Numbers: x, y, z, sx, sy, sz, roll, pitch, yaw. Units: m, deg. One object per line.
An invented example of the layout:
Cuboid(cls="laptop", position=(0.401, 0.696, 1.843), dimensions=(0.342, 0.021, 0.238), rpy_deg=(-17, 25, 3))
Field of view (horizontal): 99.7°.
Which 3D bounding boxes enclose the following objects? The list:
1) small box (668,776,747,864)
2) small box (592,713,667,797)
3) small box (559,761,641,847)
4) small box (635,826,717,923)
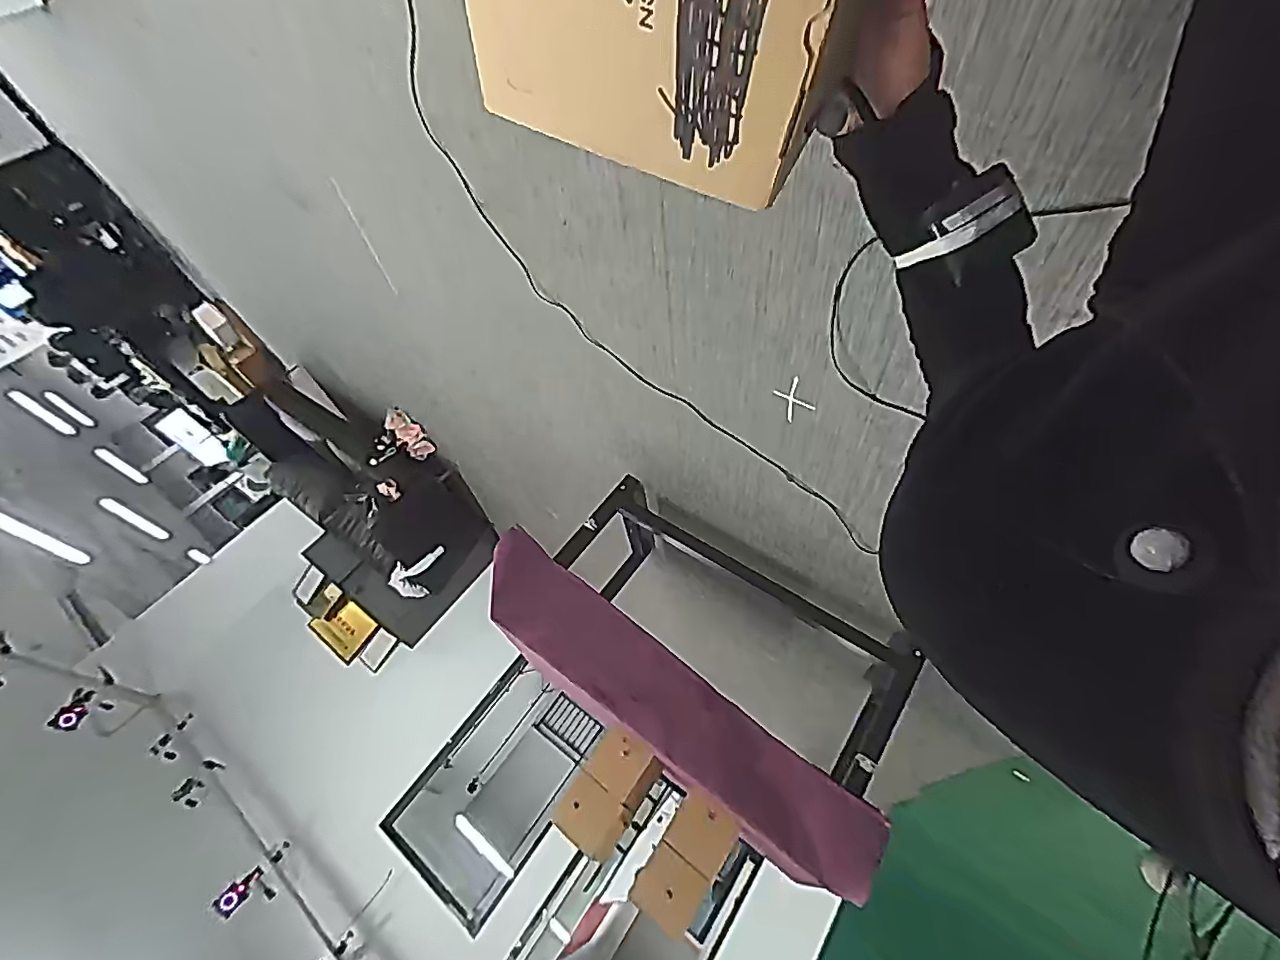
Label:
Cuboid(cls="small box", position=(0.209, 1.035, 1.657), dimensions=(0.179, 0.176, 0.168), rpy_deg=(28, 154, 27))
Cuboid(cls="small box", position=(-0.027, 0.909, 1.791), dimensions=(0.168, 0.176, 0.179), rpy_deg=(24, 152, 31))
Cuboid(cls="small box", position=(-0.122, 1.024, 1.723), dimensions=(0.179, 0.176, 0.168), rpy_deg=(25, 154, 30))
Cuboid(cls="small box", position=(0.111, 1.150, 1.592), dimensions=(0.179, 0.176, 0.168), rpy_deg=(27, 153, 26))
